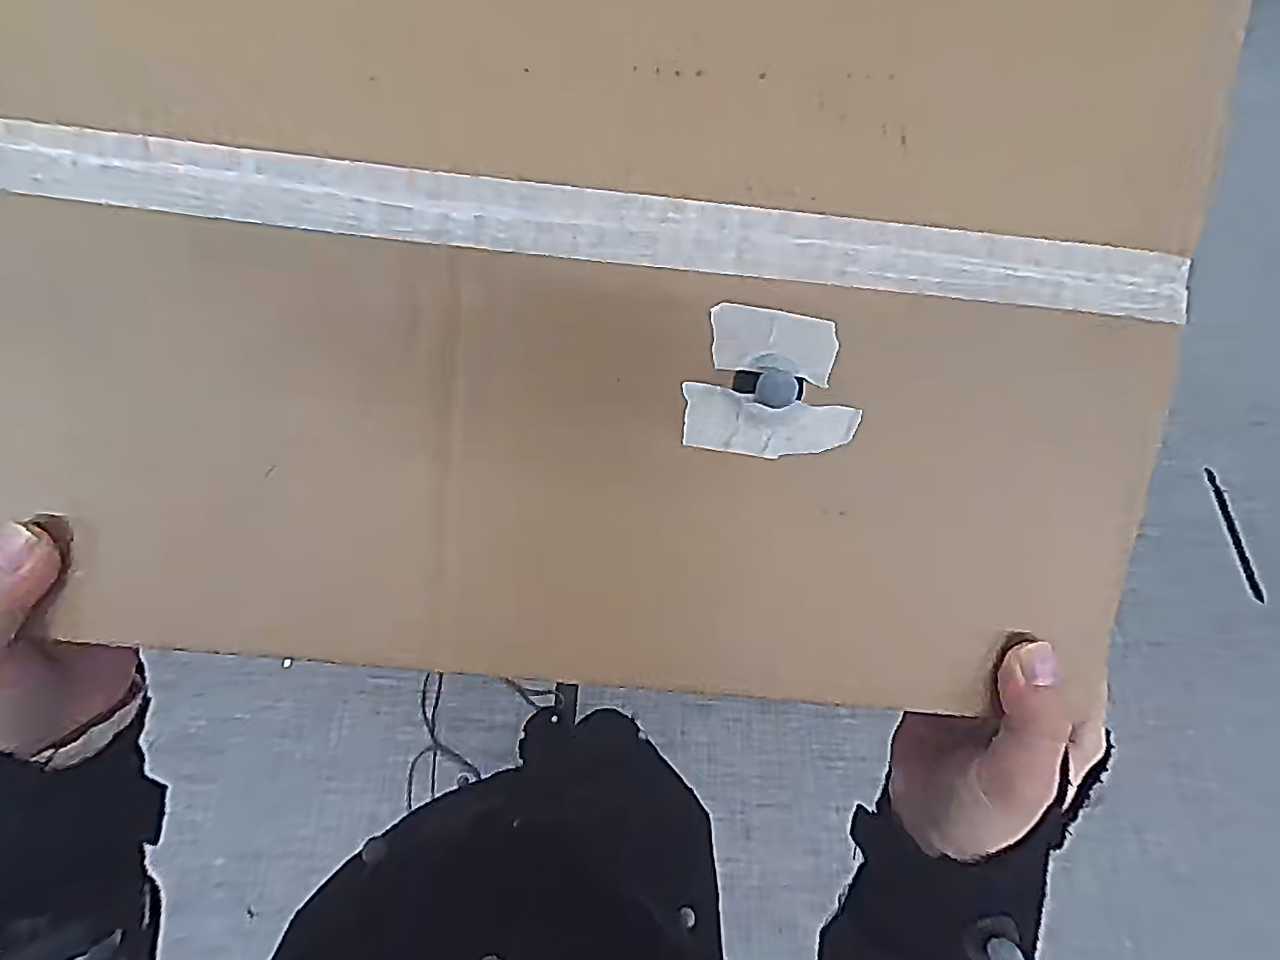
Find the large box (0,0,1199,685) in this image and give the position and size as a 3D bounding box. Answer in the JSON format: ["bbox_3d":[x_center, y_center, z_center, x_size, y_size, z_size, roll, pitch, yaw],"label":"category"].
[{"bbox_3d":[-0.022,-0.100,0.336,0.408,0.320,0.320,5,98,-3],"label":"large box"}]
